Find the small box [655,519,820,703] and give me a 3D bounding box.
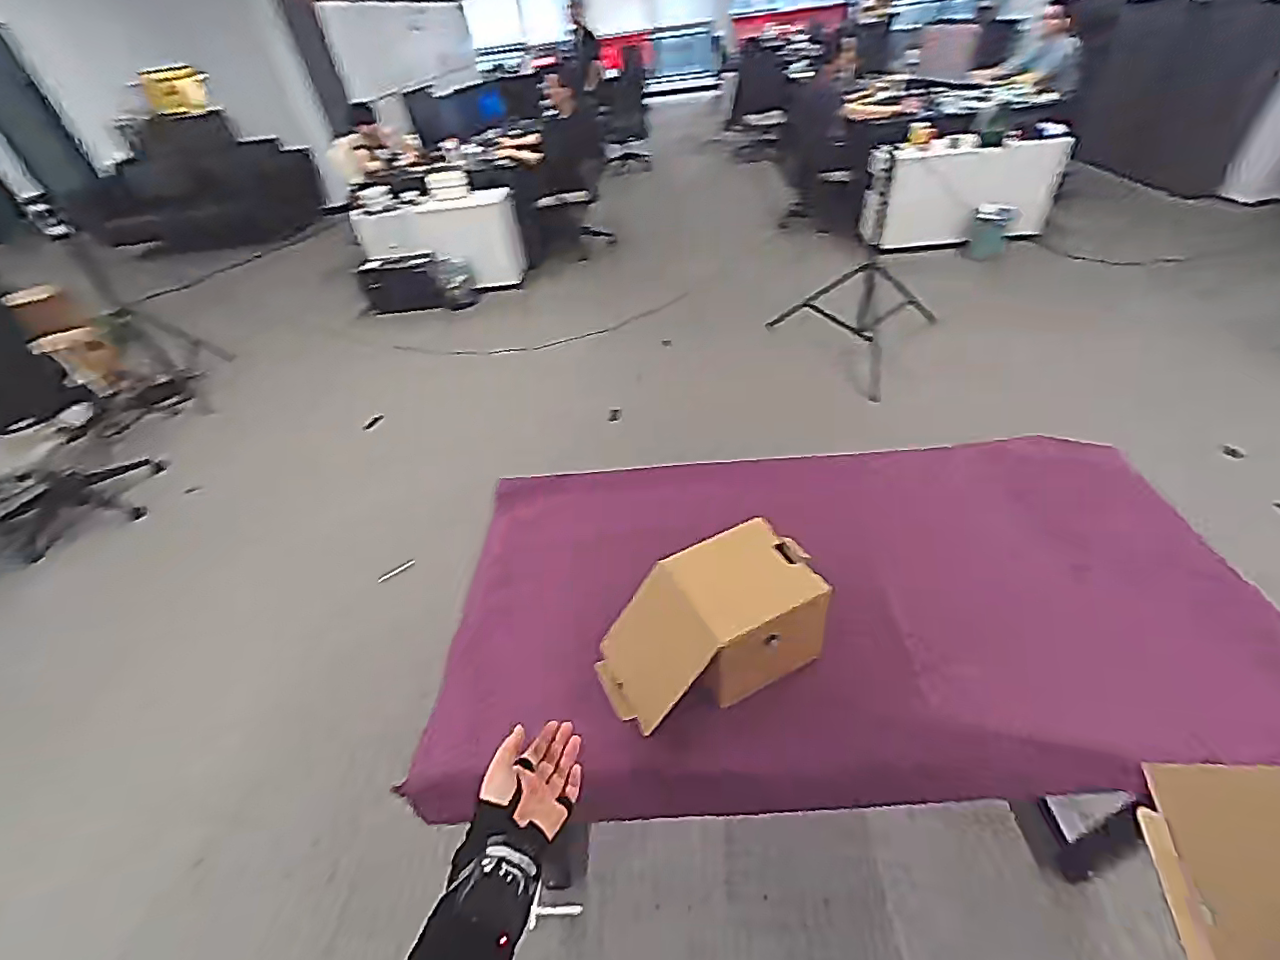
[{"bbox_3d":[0.143,0.196,0.806,0.179,0.176,0.168,-22,42,-16],"label":"small box"}]
